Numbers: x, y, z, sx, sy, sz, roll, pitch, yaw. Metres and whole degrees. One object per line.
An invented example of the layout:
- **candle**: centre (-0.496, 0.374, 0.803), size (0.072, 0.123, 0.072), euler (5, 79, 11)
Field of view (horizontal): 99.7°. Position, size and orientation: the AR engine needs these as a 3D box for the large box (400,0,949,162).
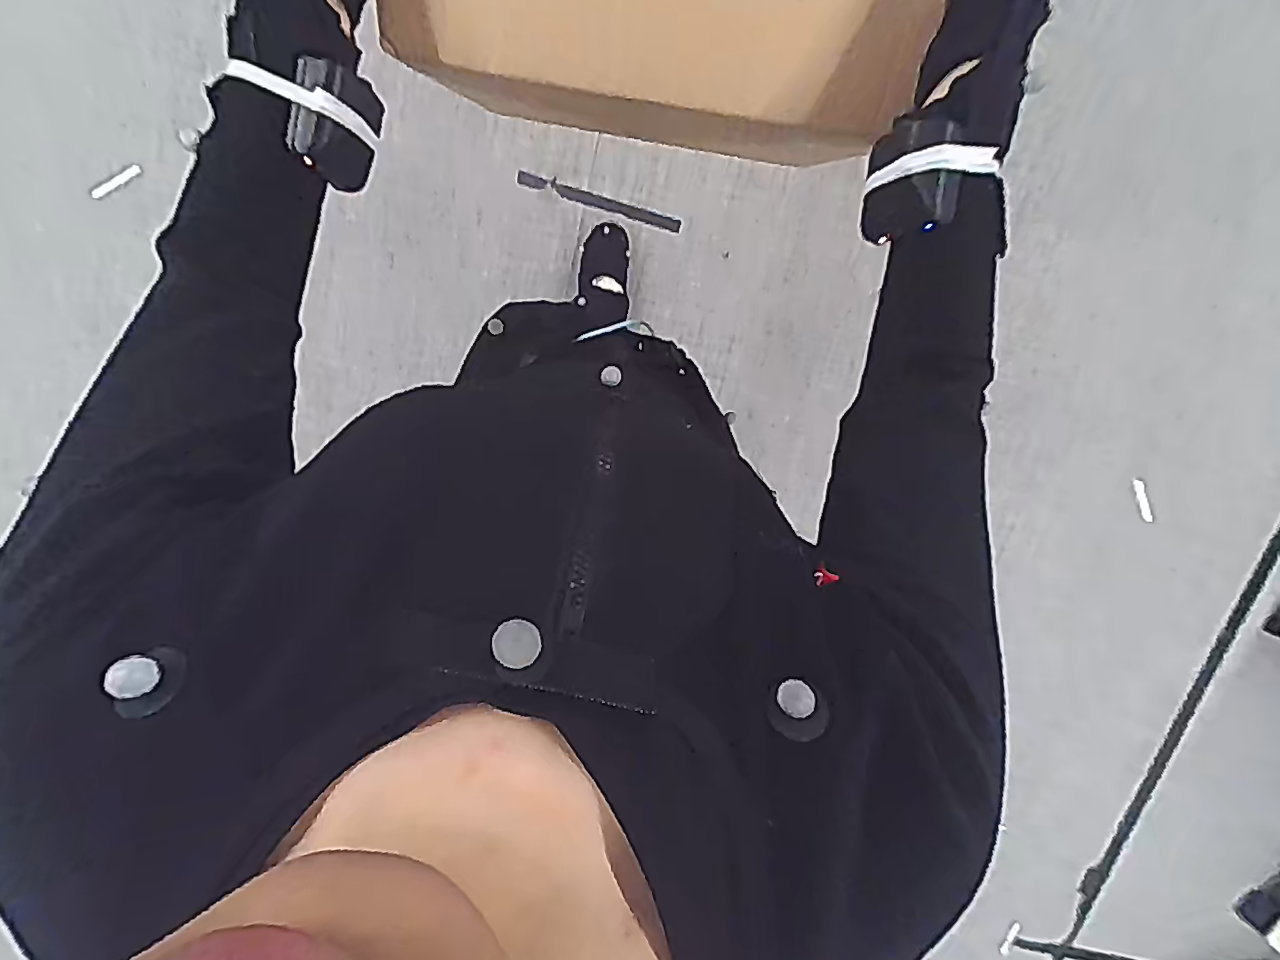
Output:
- **large box**: centre (0.036, -0.498, 0.482), size (0.408, 0.320, 0.320), euler (7, 117, -4)
